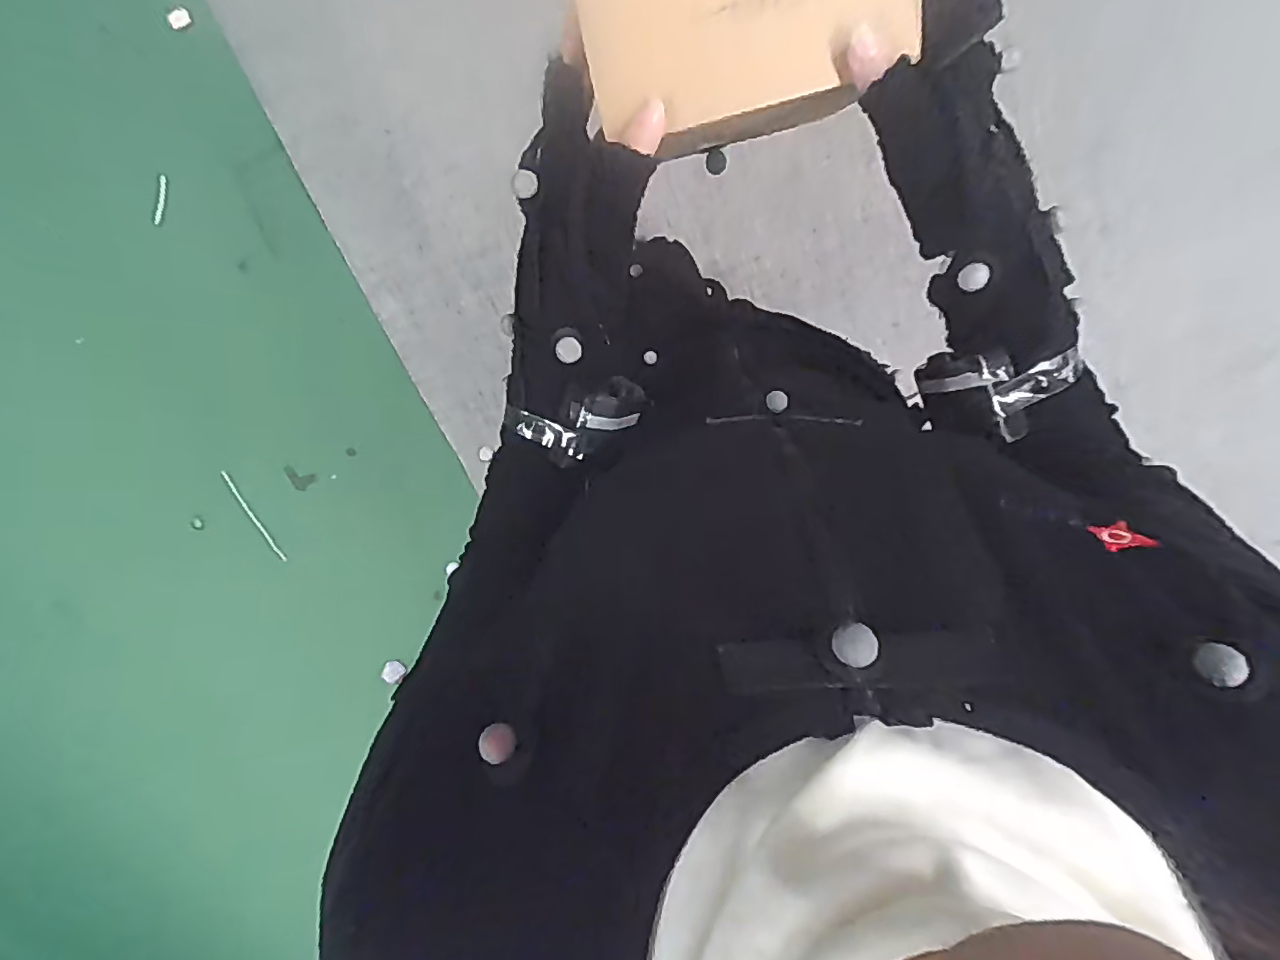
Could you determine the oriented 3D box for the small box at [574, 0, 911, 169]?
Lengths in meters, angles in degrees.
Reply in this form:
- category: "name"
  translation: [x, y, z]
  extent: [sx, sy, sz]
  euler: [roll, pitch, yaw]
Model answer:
- category: "small box"
  translation: [0.042, -0.309, 0.323]
  extent: [0.168, 0.176, 0.179]
  euler: [-11, 115, 7]
